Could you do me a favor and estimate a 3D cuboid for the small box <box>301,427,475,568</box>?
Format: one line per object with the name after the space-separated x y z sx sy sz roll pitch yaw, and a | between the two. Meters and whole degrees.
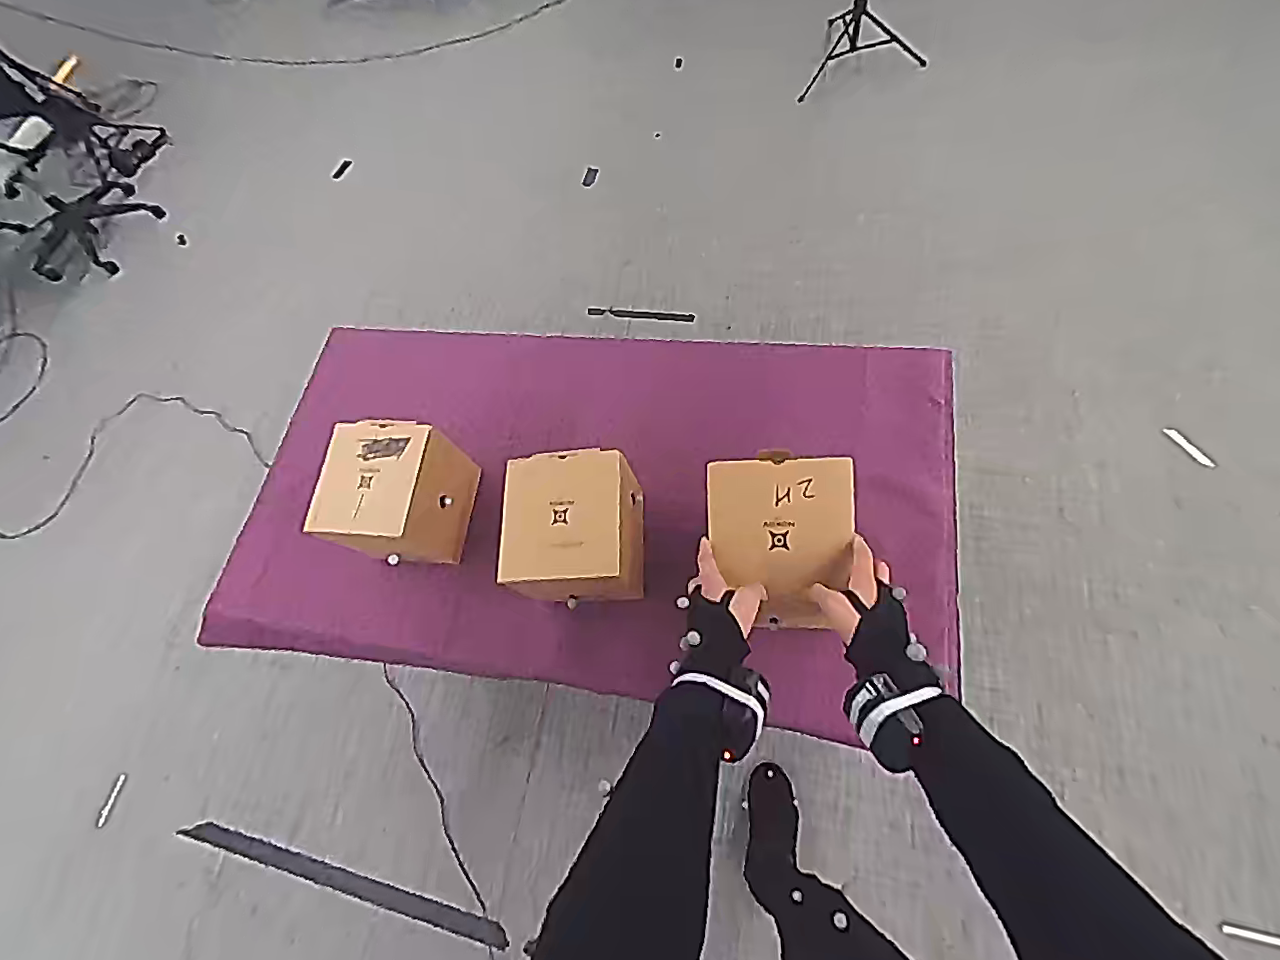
-0.385 0.031 0.861 0.168 0.176 0.179 2 69 12 | small box

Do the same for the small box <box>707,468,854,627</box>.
0.179 0.096 0.717 0.168 0.176 0.179 -2 67 11 | small box

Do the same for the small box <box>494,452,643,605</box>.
-0.092 0.078 0.783 0.168 0.176 0.179 -5 67 10 | small box
